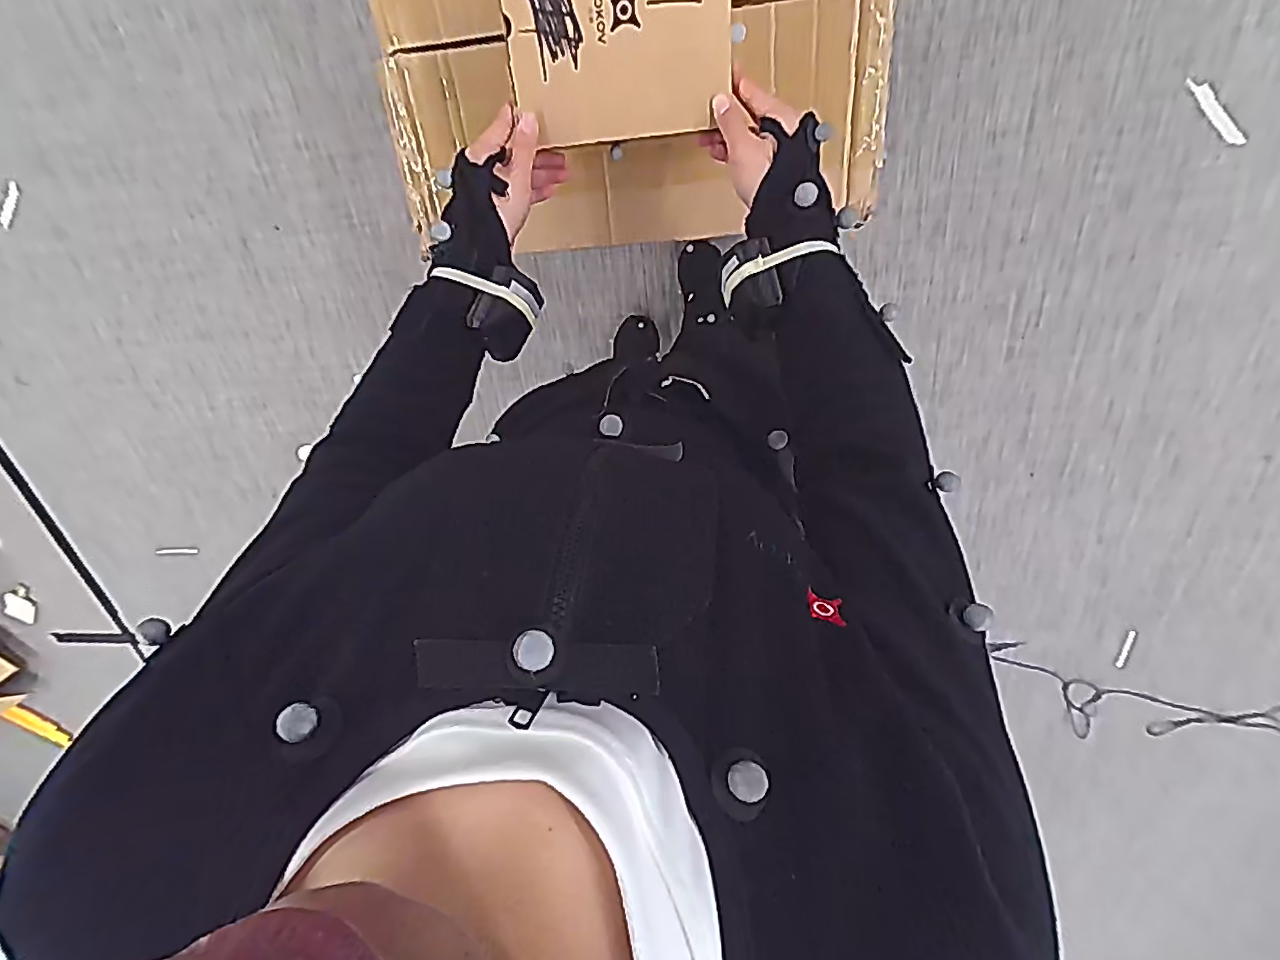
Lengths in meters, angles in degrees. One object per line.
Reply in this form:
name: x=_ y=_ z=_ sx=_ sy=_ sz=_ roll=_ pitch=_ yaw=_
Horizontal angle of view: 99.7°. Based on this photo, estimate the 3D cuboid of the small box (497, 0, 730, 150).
small box: x=-0.013 y=-0.391 z=0.467 sx=0.179 sy=0.176 sz=0.168 roll=-2 pitch=120 yaw=7
